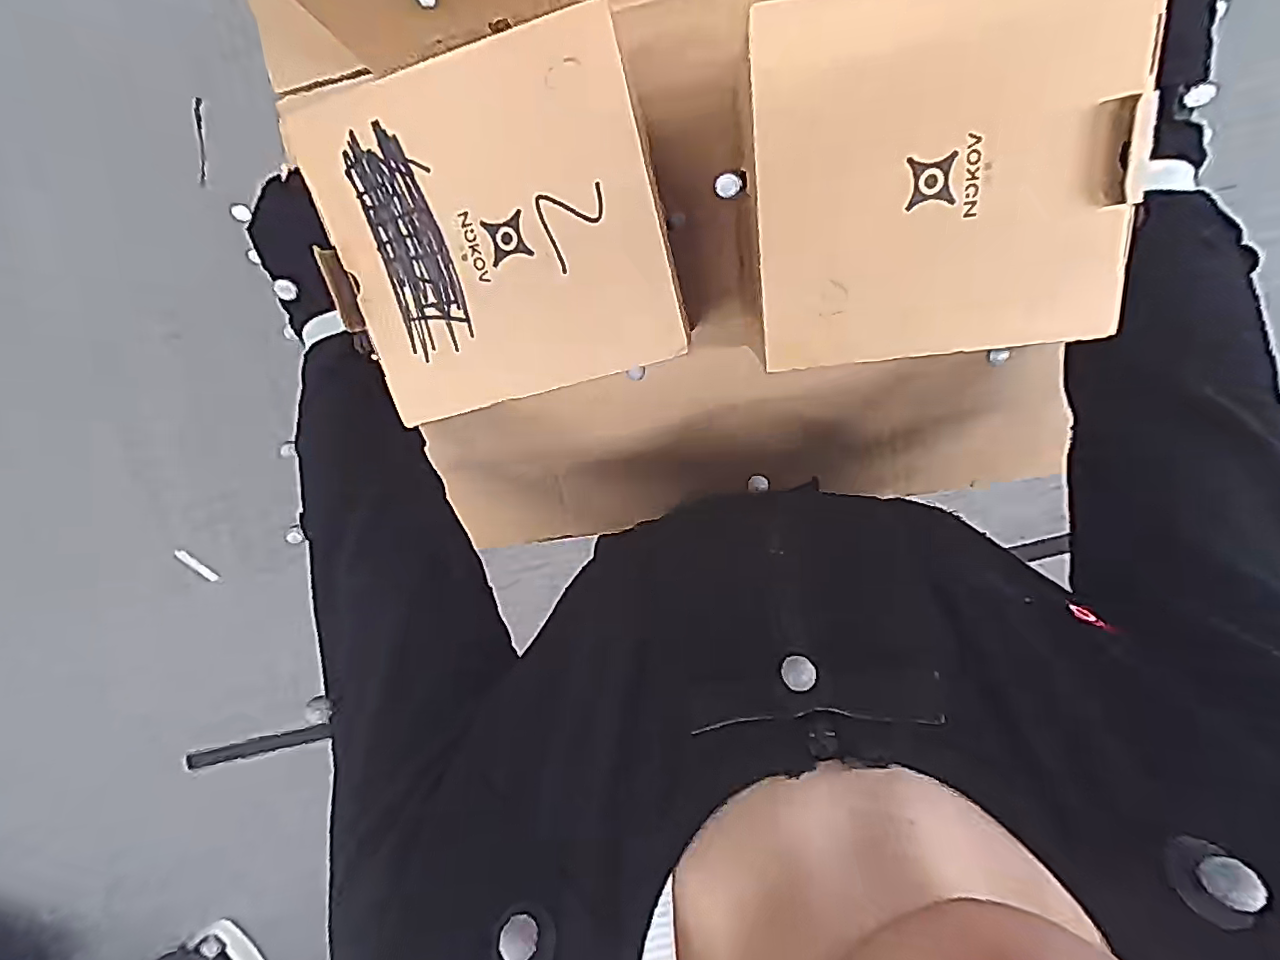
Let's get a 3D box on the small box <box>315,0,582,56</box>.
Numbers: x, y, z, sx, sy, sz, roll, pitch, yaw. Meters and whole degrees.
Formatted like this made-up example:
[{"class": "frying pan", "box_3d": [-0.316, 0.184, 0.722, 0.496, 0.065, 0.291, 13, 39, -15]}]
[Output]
[{"class": "small box", "box_3d": [-0.138, -0.388, 0.310, 0.168, 0.176, 0.179, -9, 99, 8]}]
